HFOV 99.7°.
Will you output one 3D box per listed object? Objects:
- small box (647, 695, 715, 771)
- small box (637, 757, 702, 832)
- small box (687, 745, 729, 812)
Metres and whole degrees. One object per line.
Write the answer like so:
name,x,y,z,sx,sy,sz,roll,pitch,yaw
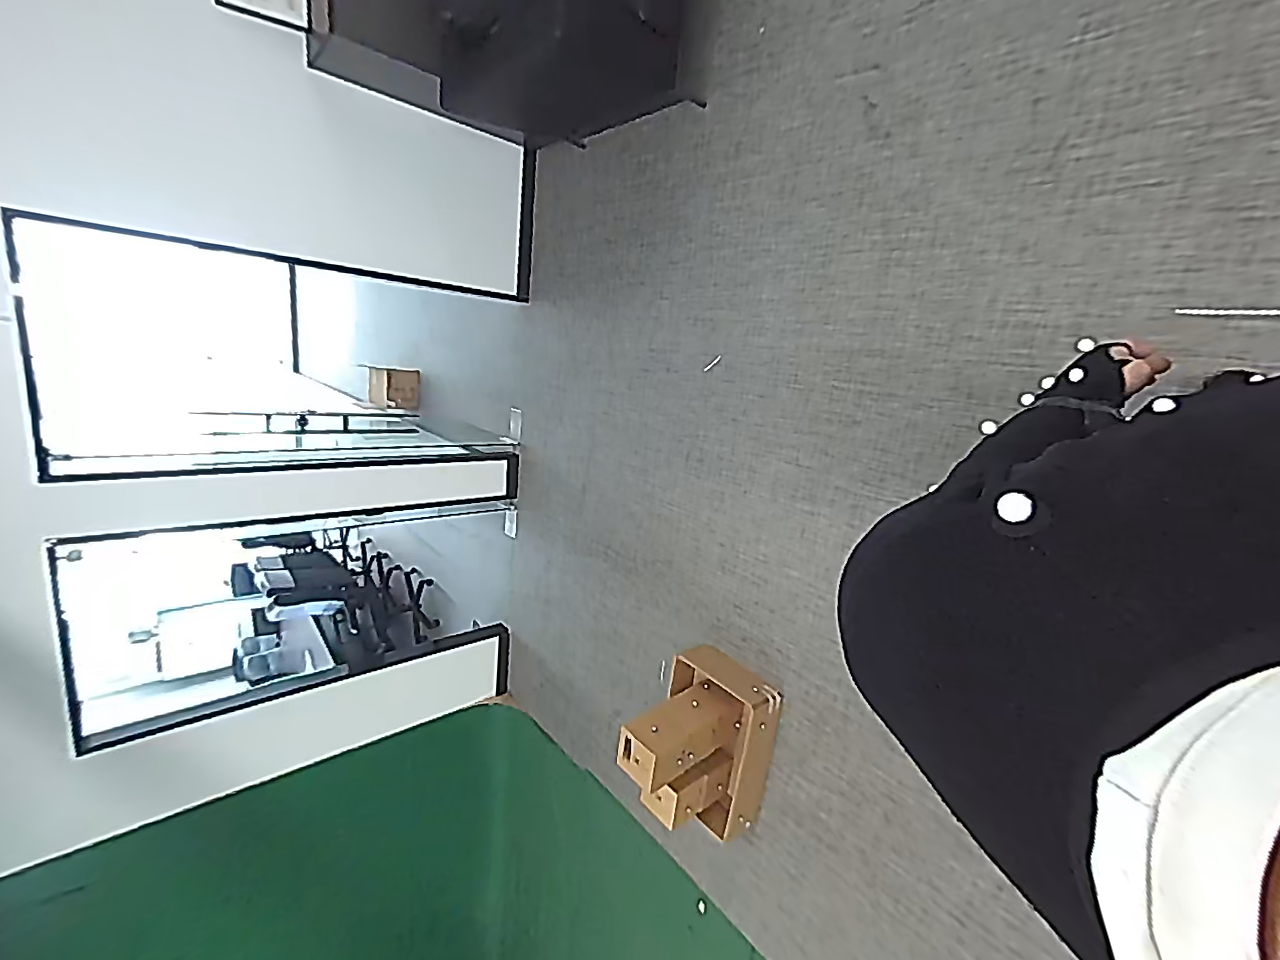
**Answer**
small box,0.150,0.922,1.995,0.179,0.176,0.168,21,111,45
small box,0.114,1.176,2.058,0.179,0.176,0.168,20,108,46
small box,0.232,1.171,2.167,0.179,0.176,0.168,21,109,45
